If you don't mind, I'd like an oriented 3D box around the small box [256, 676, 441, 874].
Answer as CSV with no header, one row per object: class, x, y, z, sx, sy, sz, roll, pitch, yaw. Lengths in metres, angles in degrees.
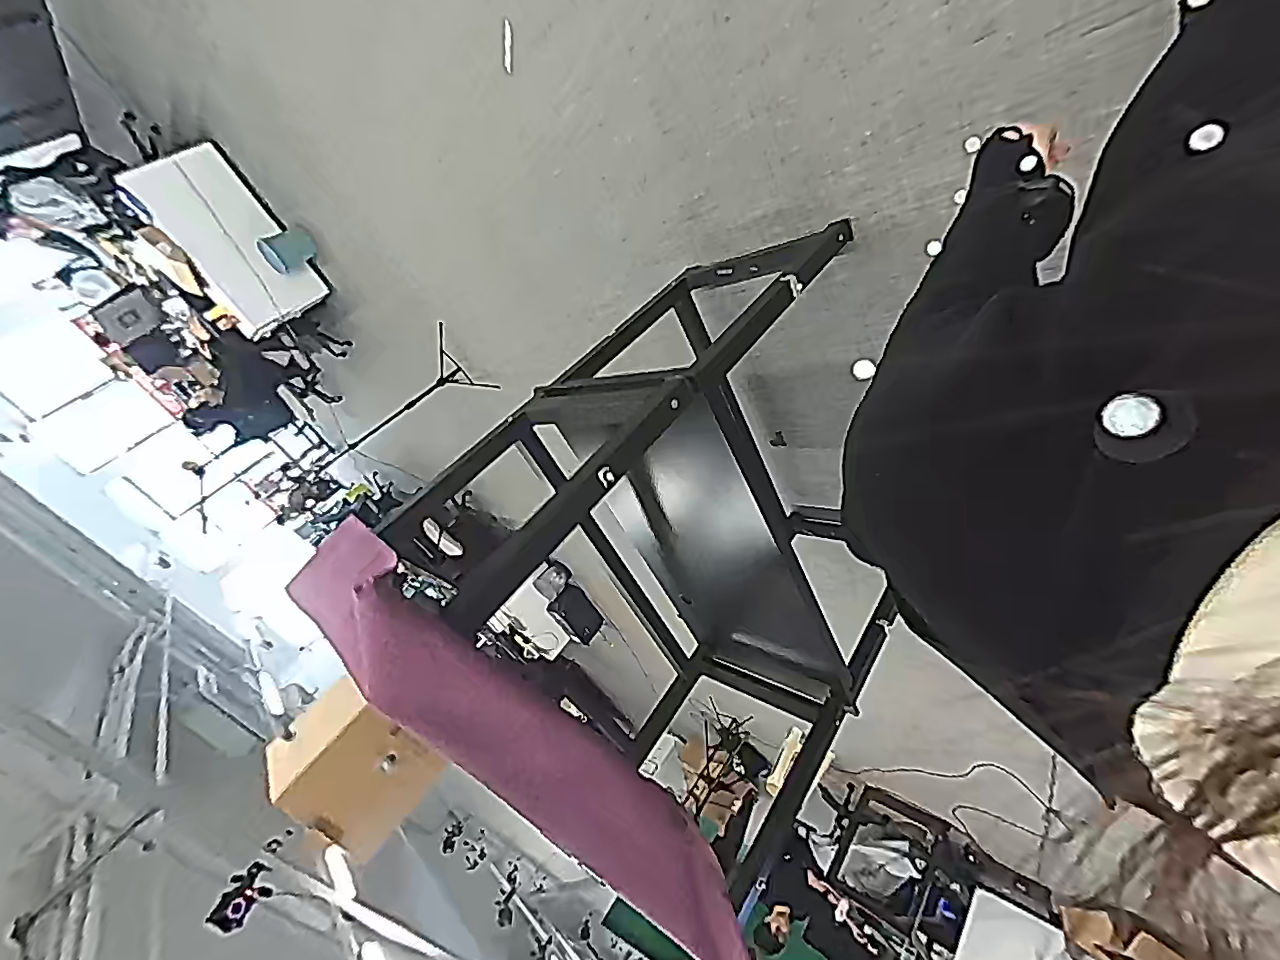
small box,-0.428,0.421,0.804,0.179,0.176,0.168,-2,130,53
